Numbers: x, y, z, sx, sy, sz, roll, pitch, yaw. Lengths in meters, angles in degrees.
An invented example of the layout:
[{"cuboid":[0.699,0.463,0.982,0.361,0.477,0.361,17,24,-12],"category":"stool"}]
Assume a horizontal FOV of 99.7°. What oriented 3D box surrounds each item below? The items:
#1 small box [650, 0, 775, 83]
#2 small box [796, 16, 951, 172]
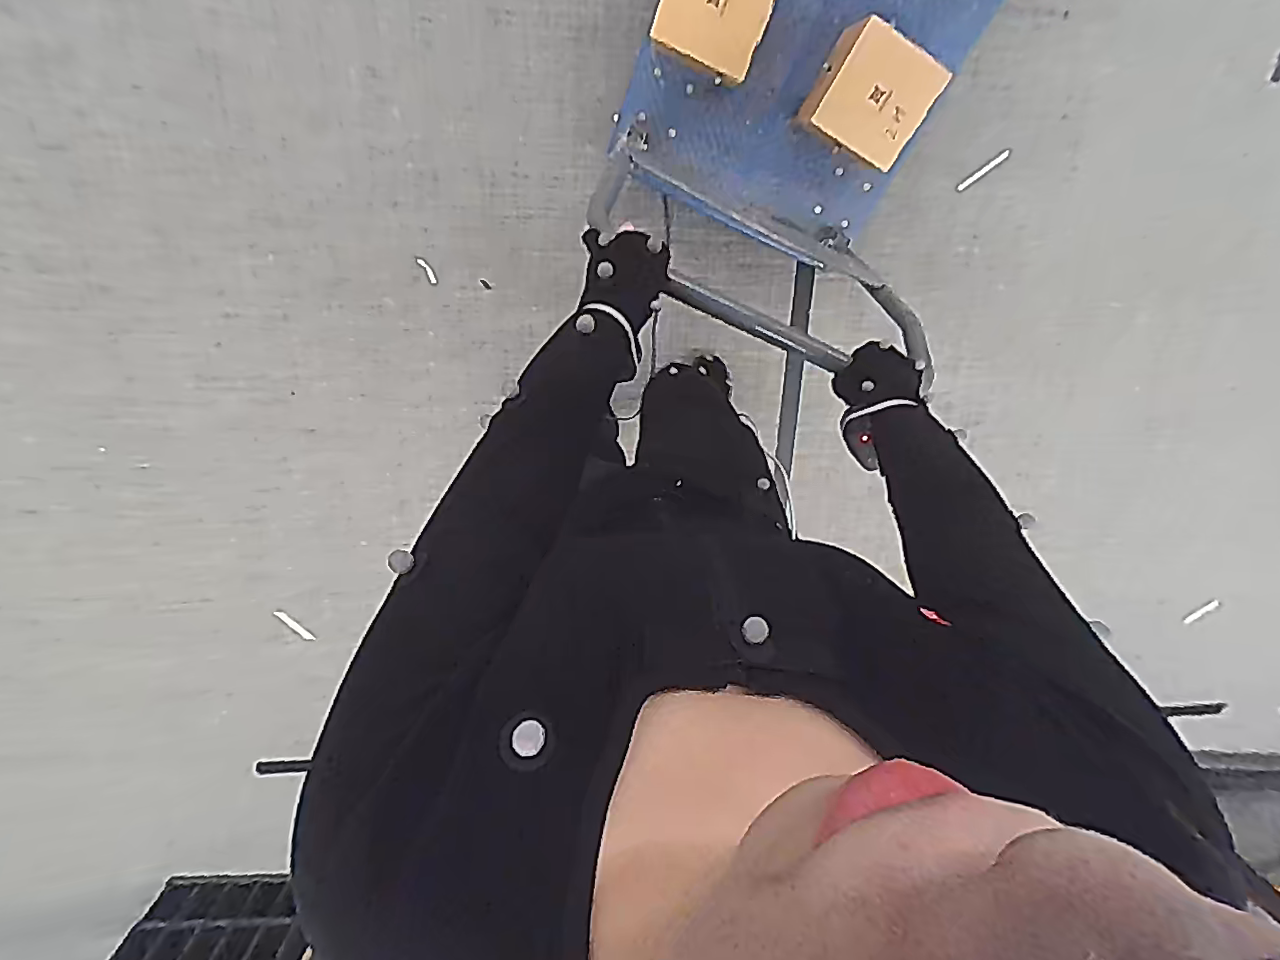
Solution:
[{"cuboid":[0.127,-0.816,0.934,0.179,0.176,0.168,18,122,-11],"category":"small box"},{"cuboid":[0.415,-0.700,0.997,0.179,0.176,0.168,25,122,-13],"category":"small box"}]
